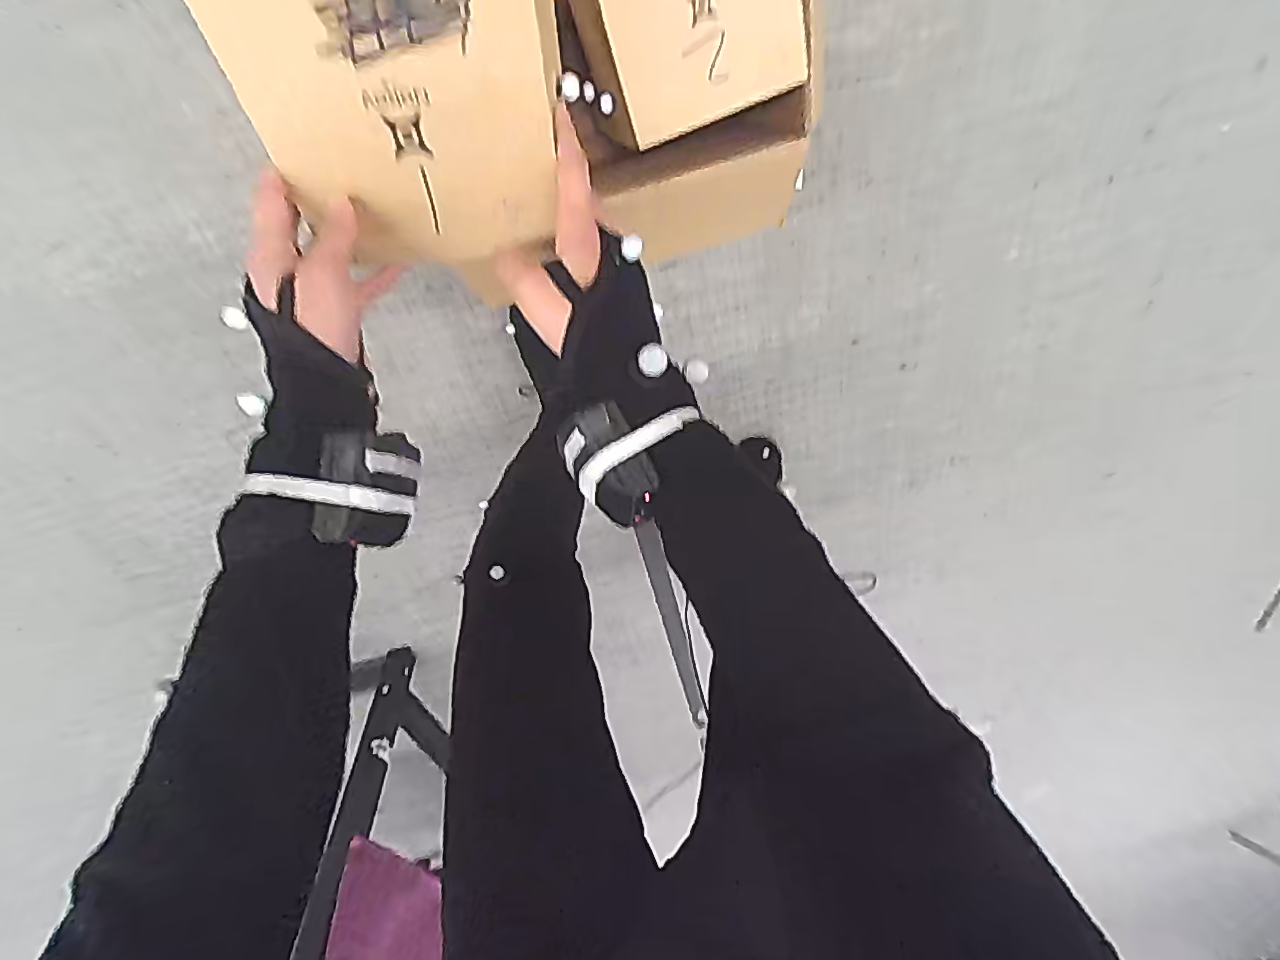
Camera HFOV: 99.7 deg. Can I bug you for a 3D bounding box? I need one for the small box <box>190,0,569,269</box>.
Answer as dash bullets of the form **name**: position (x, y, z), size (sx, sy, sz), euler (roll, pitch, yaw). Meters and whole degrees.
- **small box**: position (-0.138, -0.263, 0.348), size (0.168, 0.176, 0.179), euler (-5, 139, -1)
